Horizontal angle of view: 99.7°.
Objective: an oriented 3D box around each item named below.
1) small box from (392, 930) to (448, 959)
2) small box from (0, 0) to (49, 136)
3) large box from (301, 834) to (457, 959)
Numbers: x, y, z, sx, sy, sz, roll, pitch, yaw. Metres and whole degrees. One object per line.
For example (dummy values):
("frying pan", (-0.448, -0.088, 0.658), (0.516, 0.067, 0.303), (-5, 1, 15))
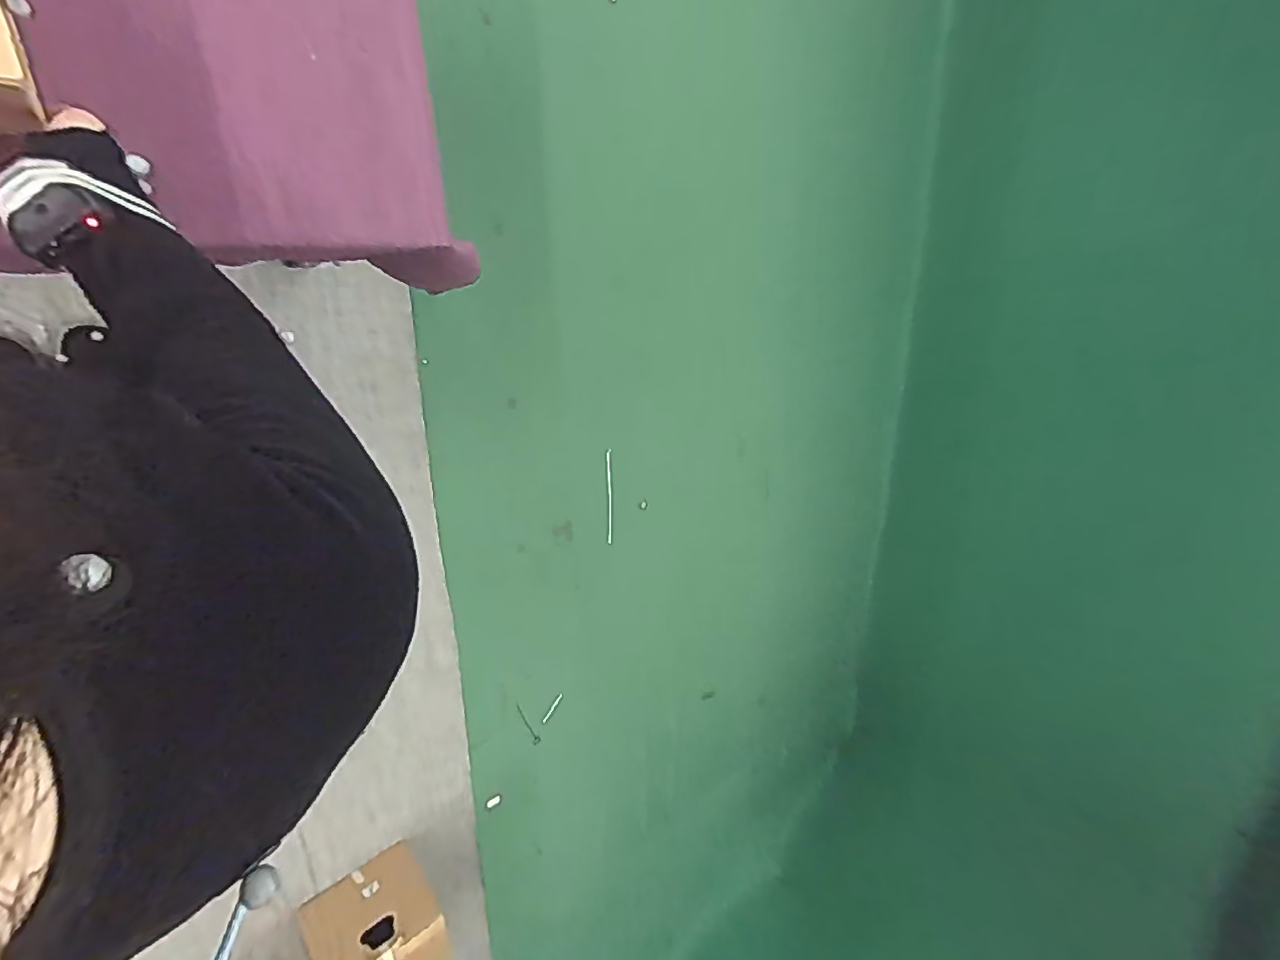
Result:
("small box", (-0.606, 1.400, 1.468), (0.179, 0.176, 0.168), (-20, 118, -40))
("small box", (-0.550, -0.356, 0.366), (0.168, 0.176, 0.179), (-18, 116, -39))
("large box", (-0.783, 1.413, 1.650), (0.320, 0.320, 0.408), (-18, 116, -39))
